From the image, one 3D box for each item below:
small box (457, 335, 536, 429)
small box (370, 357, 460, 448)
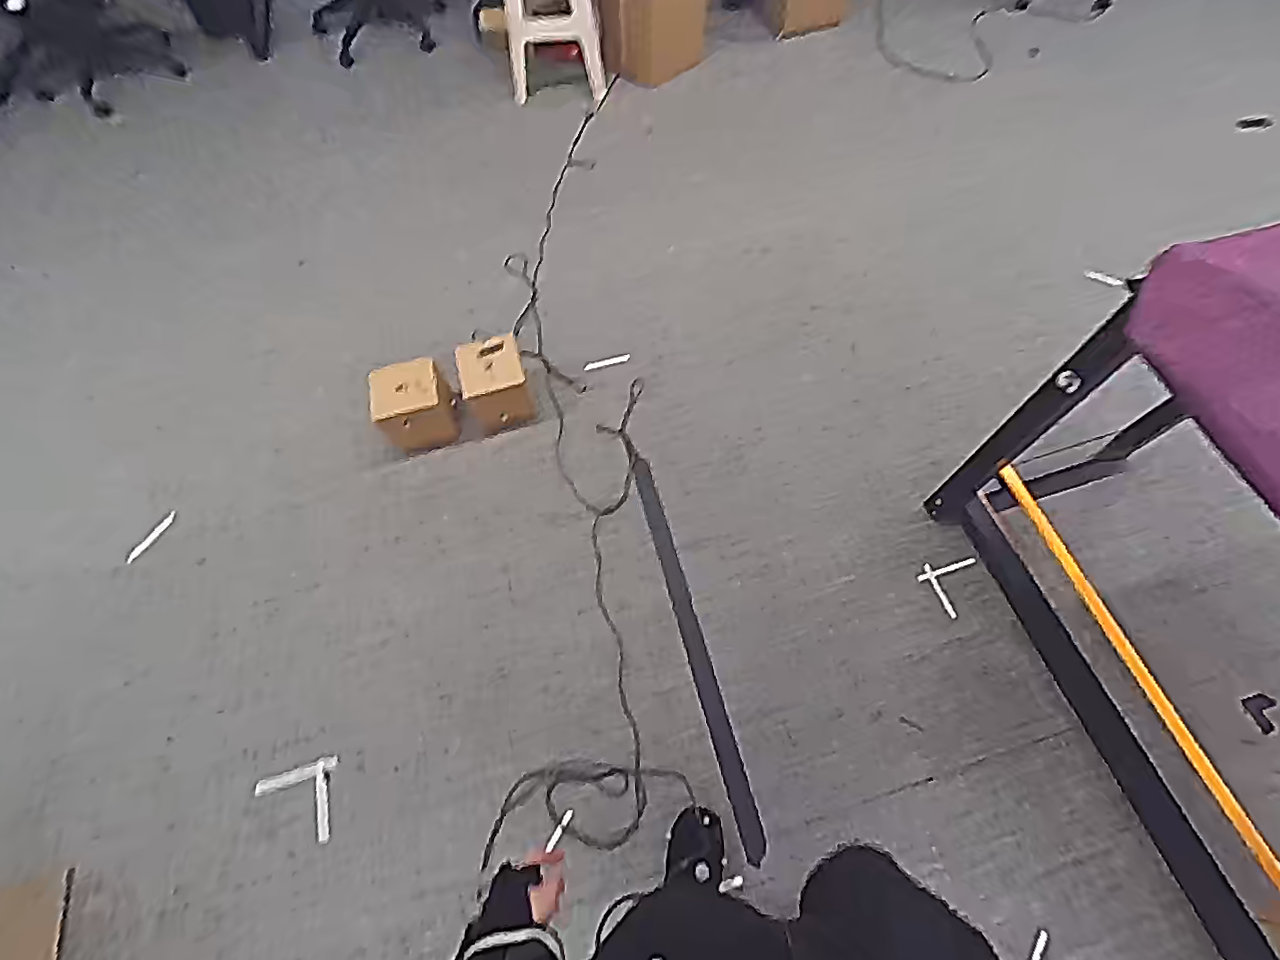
[{"bbox_3d":[-0.401,-0.273,1.525,0.168,0.176,0.179,-16,65,-6],"label":"small box"},{"bbox_3d":[-0.622,-0.208,1.501,0.179,0.176,0.168,-15,64,-4],"label":"small box"}]
